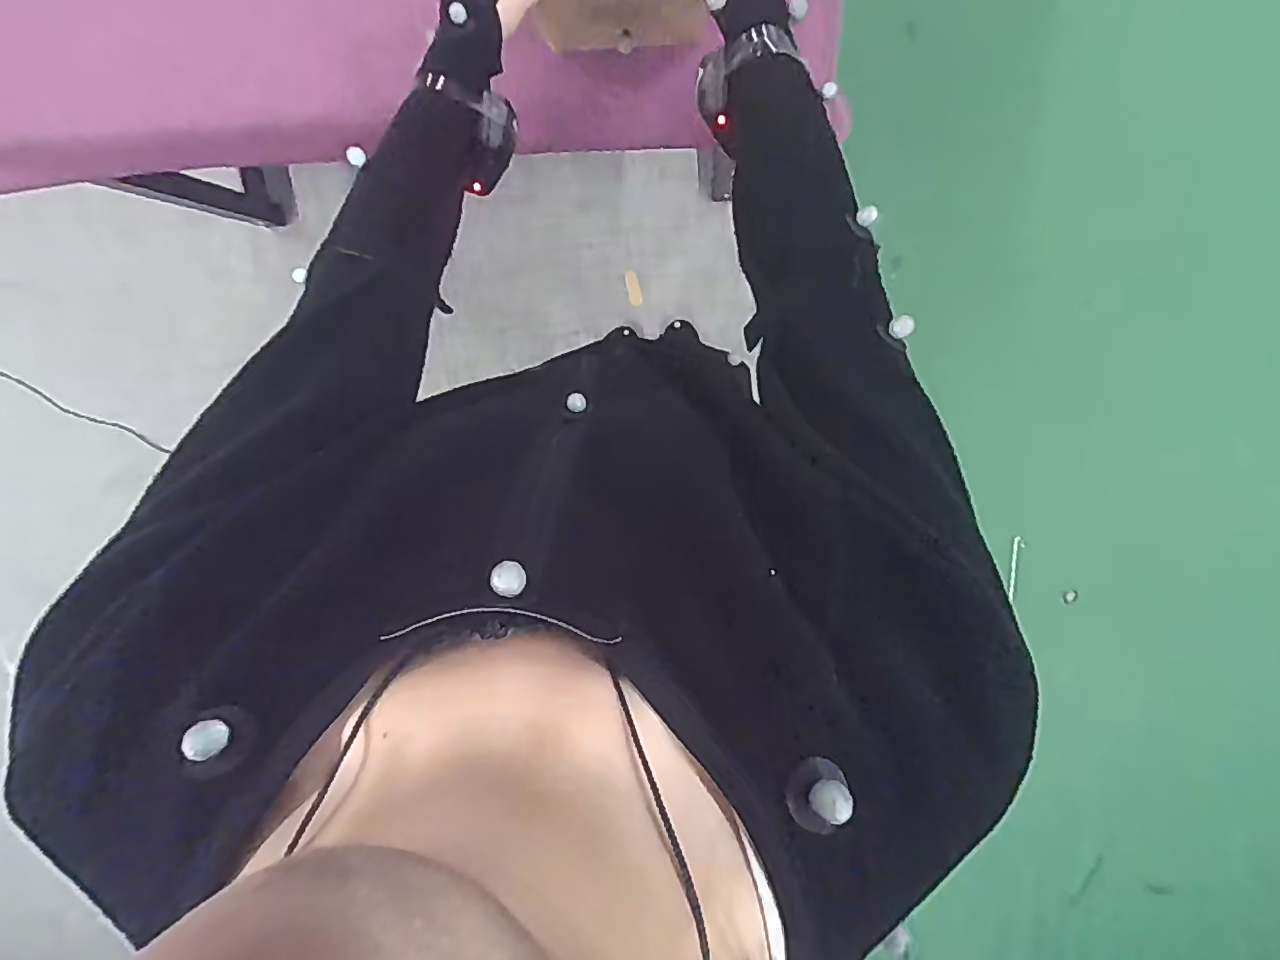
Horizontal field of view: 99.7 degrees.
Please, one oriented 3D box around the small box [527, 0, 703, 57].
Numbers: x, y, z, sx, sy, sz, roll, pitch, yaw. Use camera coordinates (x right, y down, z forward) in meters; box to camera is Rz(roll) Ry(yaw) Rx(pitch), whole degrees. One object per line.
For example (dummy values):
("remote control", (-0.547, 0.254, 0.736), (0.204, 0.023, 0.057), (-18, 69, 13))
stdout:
("small box", (-0.023, -0.550, 0.532), (0.179, 0.176, 0.168), (-2, 108, 3))
